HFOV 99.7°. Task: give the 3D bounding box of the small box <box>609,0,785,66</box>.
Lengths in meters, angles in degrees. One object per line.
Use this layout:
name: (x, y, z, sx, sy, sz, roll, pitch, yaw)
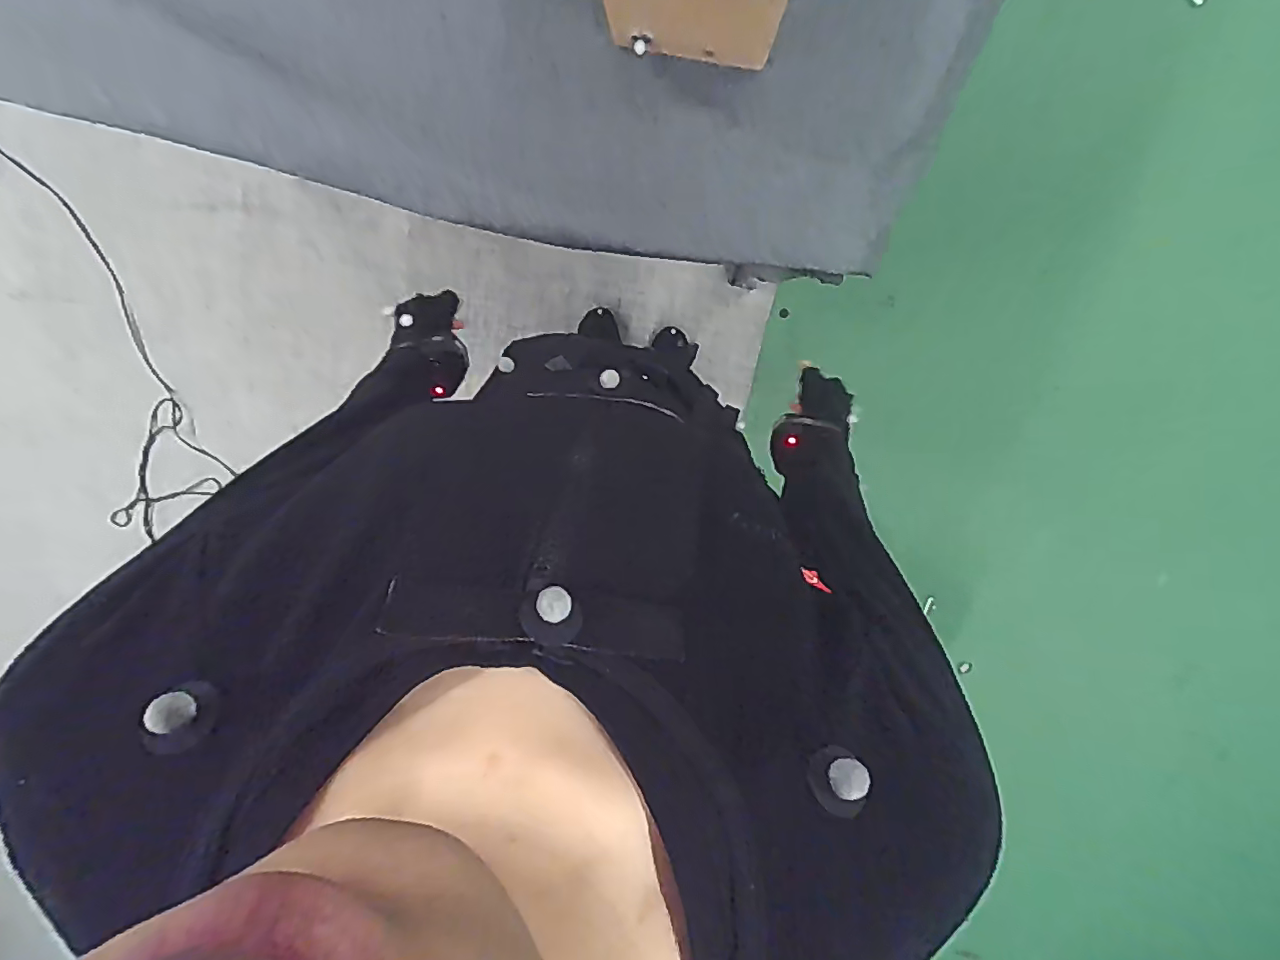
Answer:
small box: (0.062, -0.509, 0.478, 0.168, 0.176, 0.179, 10, 107, 0)
